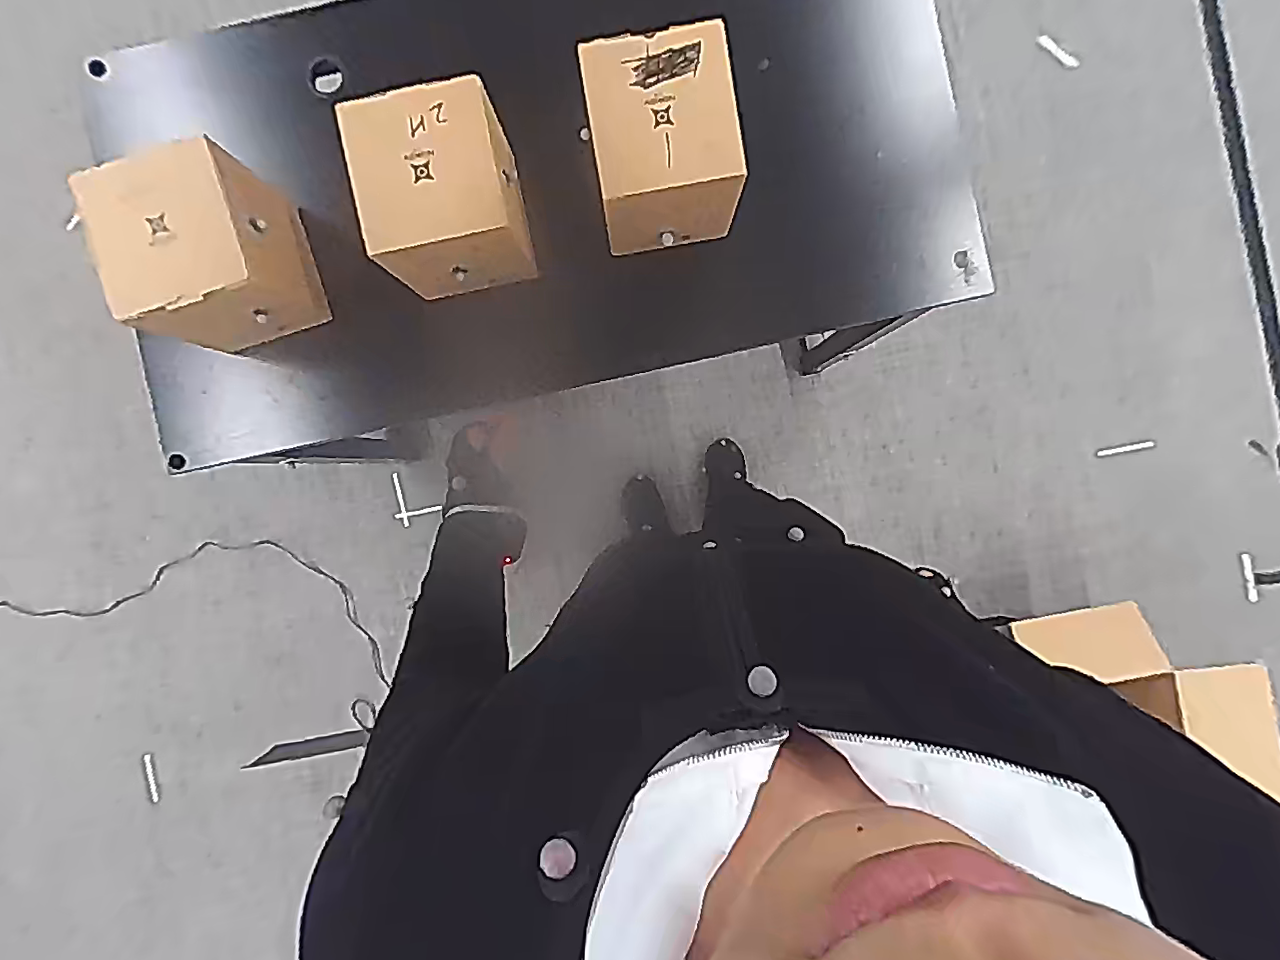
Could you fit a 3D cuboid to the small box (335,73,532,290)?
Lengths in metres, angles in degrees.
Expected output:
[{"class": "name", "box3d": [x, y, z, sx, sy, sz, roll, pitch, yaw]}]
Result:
[{"class": "small box", "box3d": [-0.244, -0.356, 0.684, 0.168, 0.176, 0.179, -11, 91, 1]}]

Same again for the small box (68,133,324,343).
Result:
[{"class": "small box", "box3d": [-0.545, -0.288, 0.692, 0.168, 0.176, 0.179, -17, 90, 0]}]

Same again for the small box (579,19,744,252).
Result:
[{"class": "small box", "box3d": [0.024, -0.415, 0.680, 0.168, 0.176, 0.179, -9, 92, 1]}]
